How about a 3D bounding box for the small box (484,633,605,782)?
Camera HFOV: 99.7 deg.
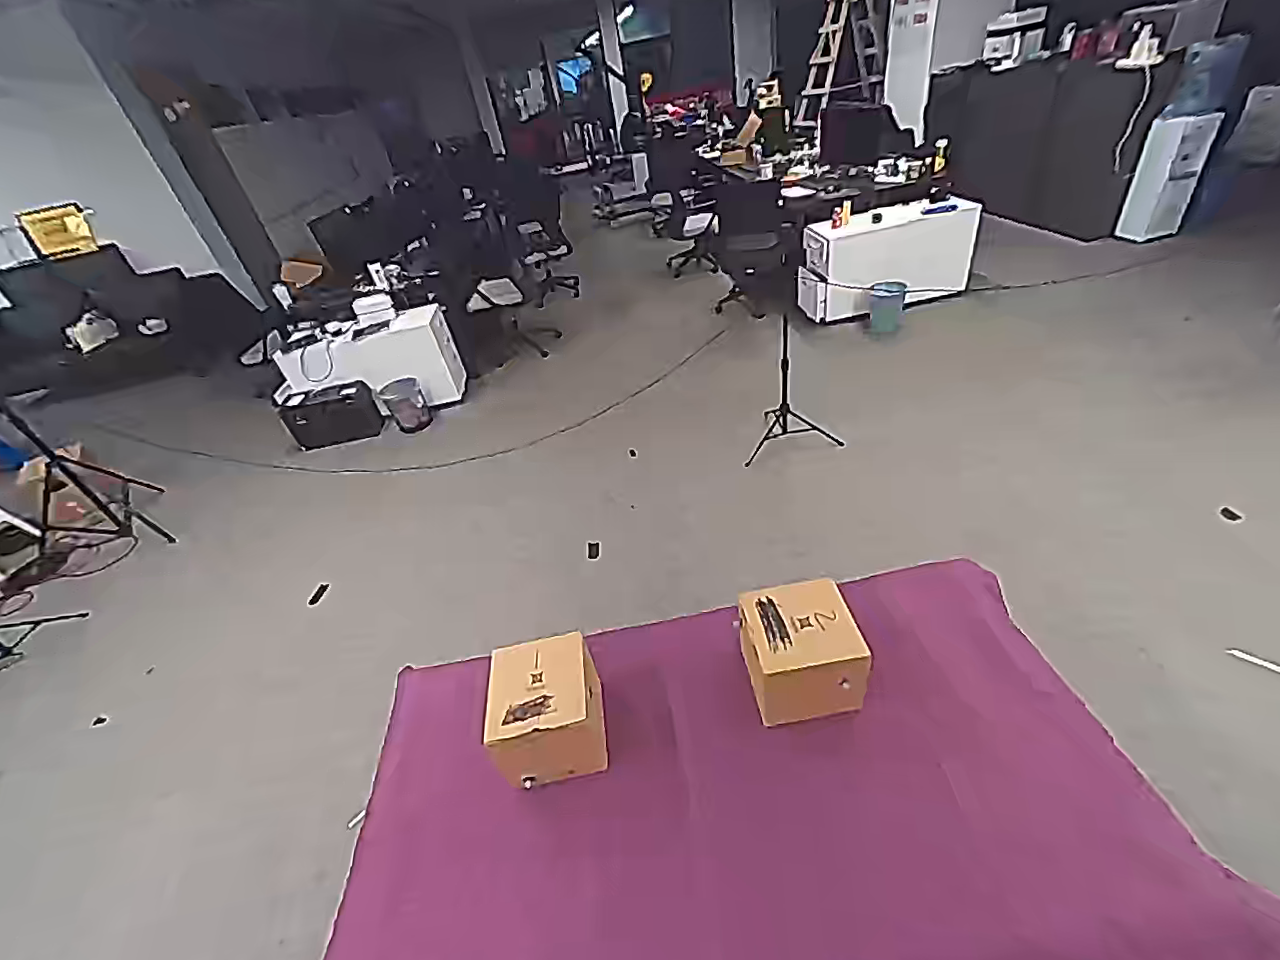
[{"bbox_3d":[-0.162,0.405,0.953,0.168,0.176,0.179,-12,37,-1],"label":"small box"}]
